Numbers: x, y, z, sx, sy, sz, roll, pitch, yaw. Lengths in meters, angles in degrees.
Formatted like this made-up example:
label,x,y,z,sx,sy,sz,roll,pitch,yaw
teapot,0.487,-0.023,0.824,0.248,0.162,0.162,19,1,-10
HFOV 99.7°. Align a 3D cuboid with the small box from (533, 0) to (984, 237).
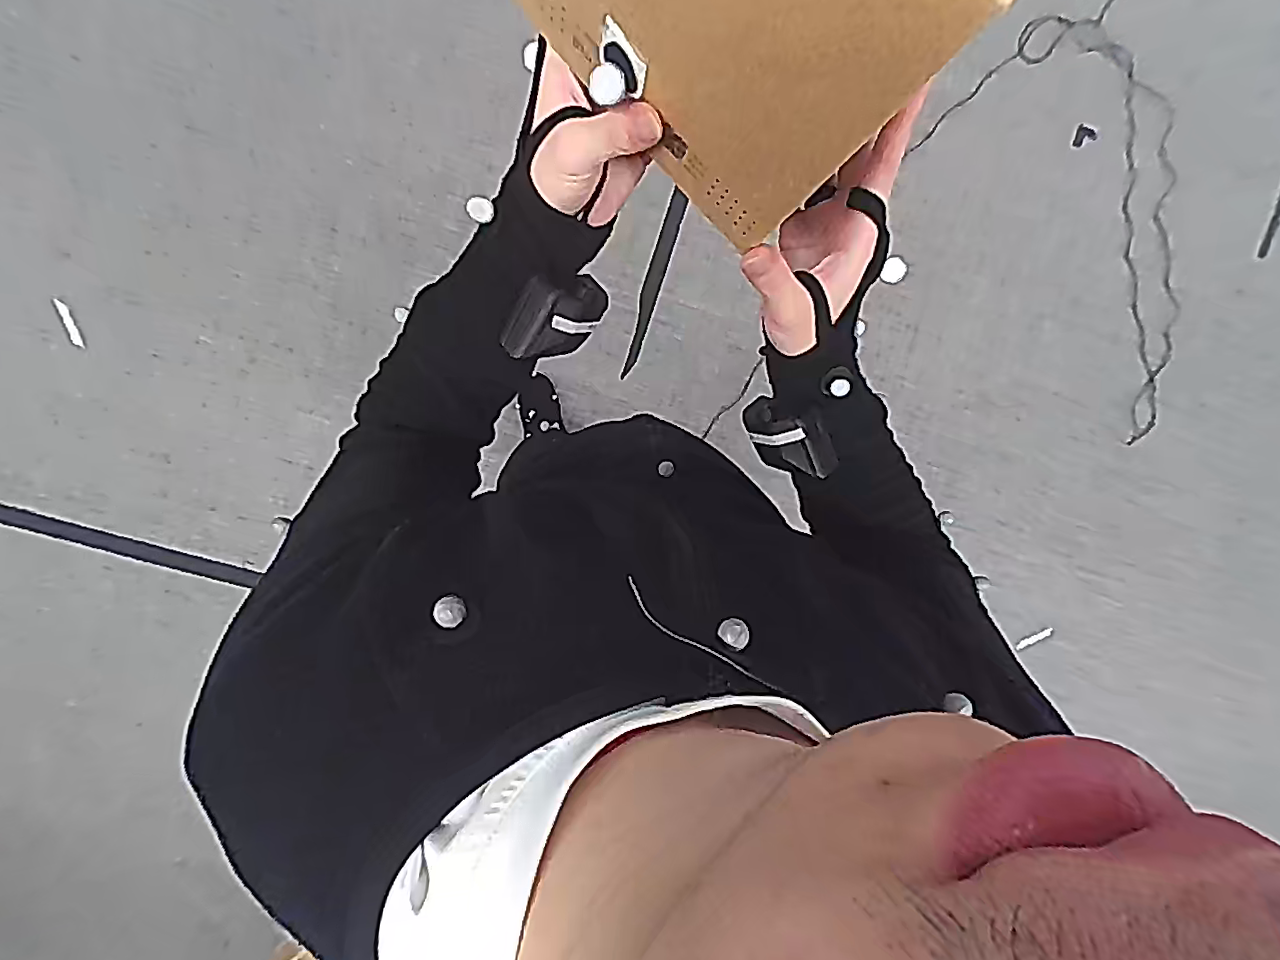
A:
label,x,y,z,sx,sy,sz,roll,pitch,yaw
small box,0.067,-0.238,0.209,0.168,0.176,0.179,43,86,-9
